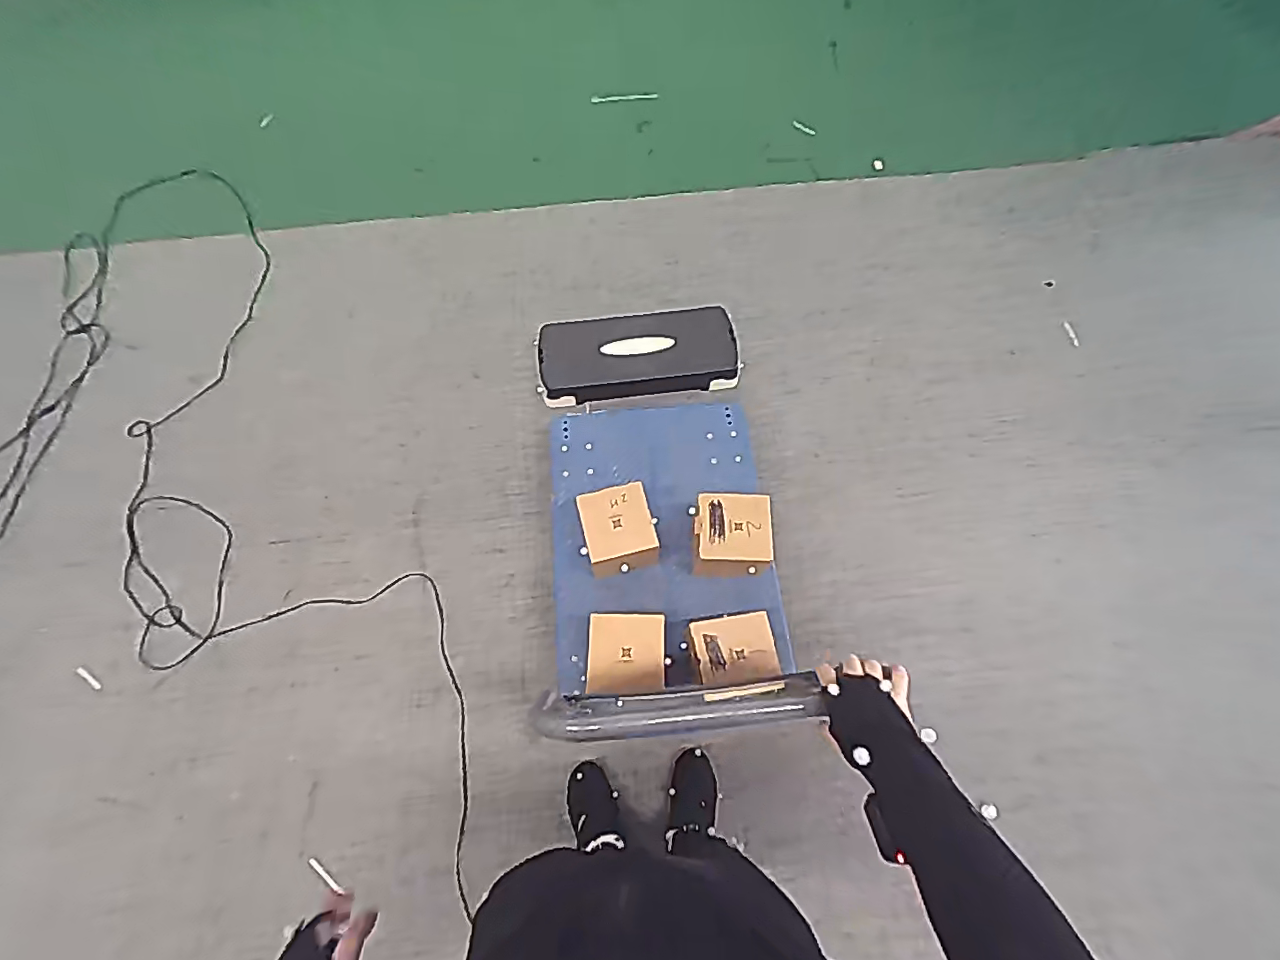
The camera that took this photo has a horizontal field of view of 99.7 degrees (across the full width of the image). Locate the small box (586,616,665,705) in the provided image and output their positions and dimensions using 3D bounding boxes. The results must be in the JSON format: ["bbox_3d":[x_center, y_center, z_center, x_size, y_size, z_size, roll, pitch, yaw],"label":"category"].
[{"bbox_3d":[-0.032,0.415,1.232,0.168,0.176,0.179,1,66,-1],"label":"small box"}]

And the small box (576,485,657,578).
[{"bbox_3d":[-0.056,0.138,1.356,0.168,0.176,0.179,-13,67,-7],"label":"small box"}]

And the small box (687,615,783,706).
[{"bbox_3d":[0.205,0.415,1.233,0.179,0.176,0.168,-8,67,-4],"label":"small box"}]
